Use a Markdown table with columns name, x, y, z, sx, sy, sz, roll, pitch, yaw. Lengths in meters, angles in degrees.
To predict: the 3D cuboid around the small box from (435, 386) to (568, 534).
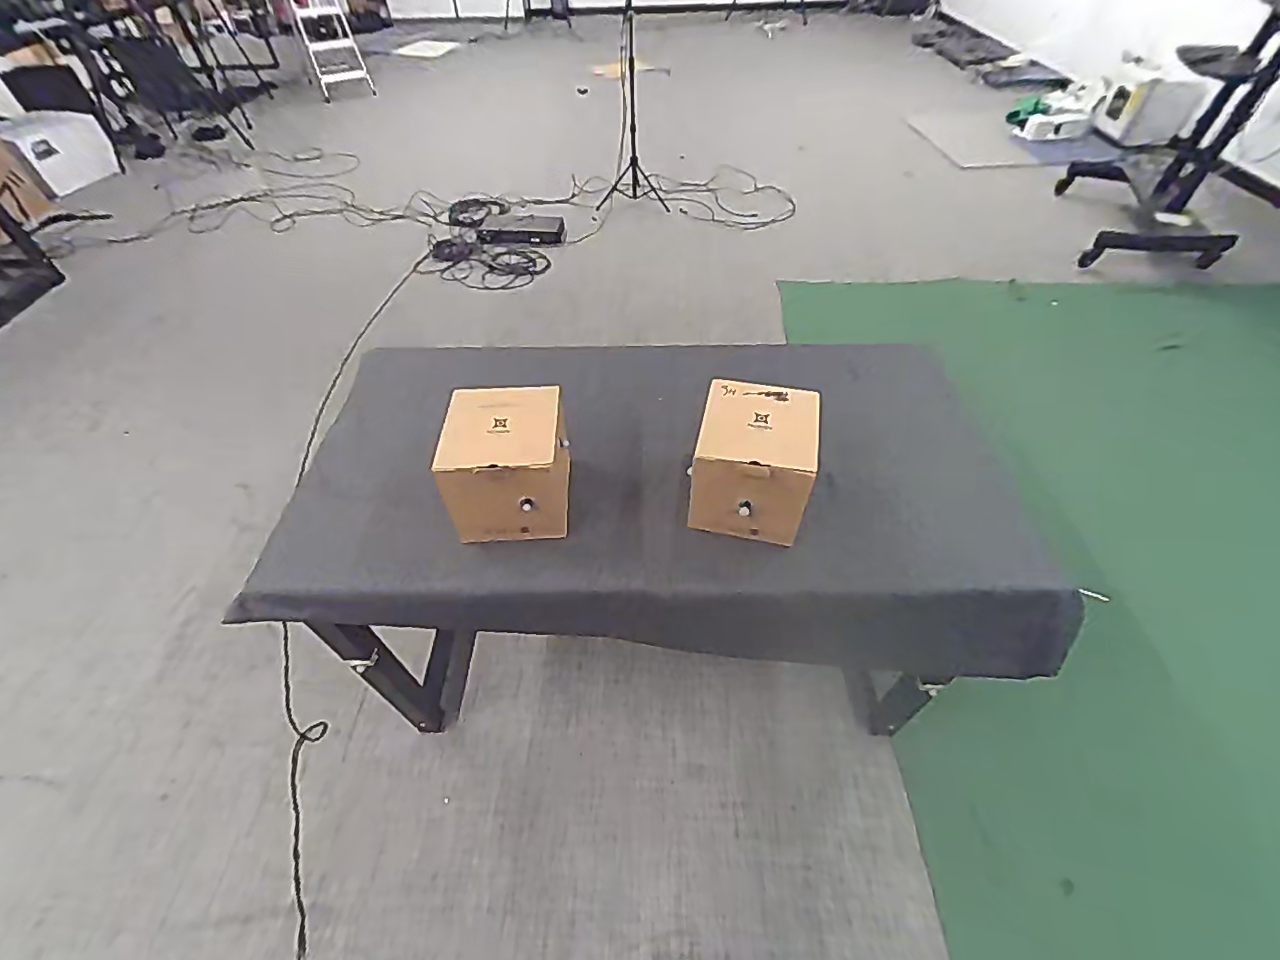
| name | x | y | z | sx | sy | sz | roll | pitch | yaw |
| --- | --- | --- | --- | --- | --- | --- | --- | --- | --- |
| small box | -0.203 | -0.026 | 0.851 | 0.168 | 0.176 | 0.179 | -2 | 46 | -3 |

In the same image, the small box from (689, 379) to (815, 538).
| name | x | y | z | sx | sy | sz | roll | pitch | yaw |
| --- | --- | --- | --- | --- | --- | --- | --- | --- | --- |
| small box | 0.172 | -0.031 | 0.848 | 0.168 | 0.176 | 0.179 | 10 | 50 | 9 |
